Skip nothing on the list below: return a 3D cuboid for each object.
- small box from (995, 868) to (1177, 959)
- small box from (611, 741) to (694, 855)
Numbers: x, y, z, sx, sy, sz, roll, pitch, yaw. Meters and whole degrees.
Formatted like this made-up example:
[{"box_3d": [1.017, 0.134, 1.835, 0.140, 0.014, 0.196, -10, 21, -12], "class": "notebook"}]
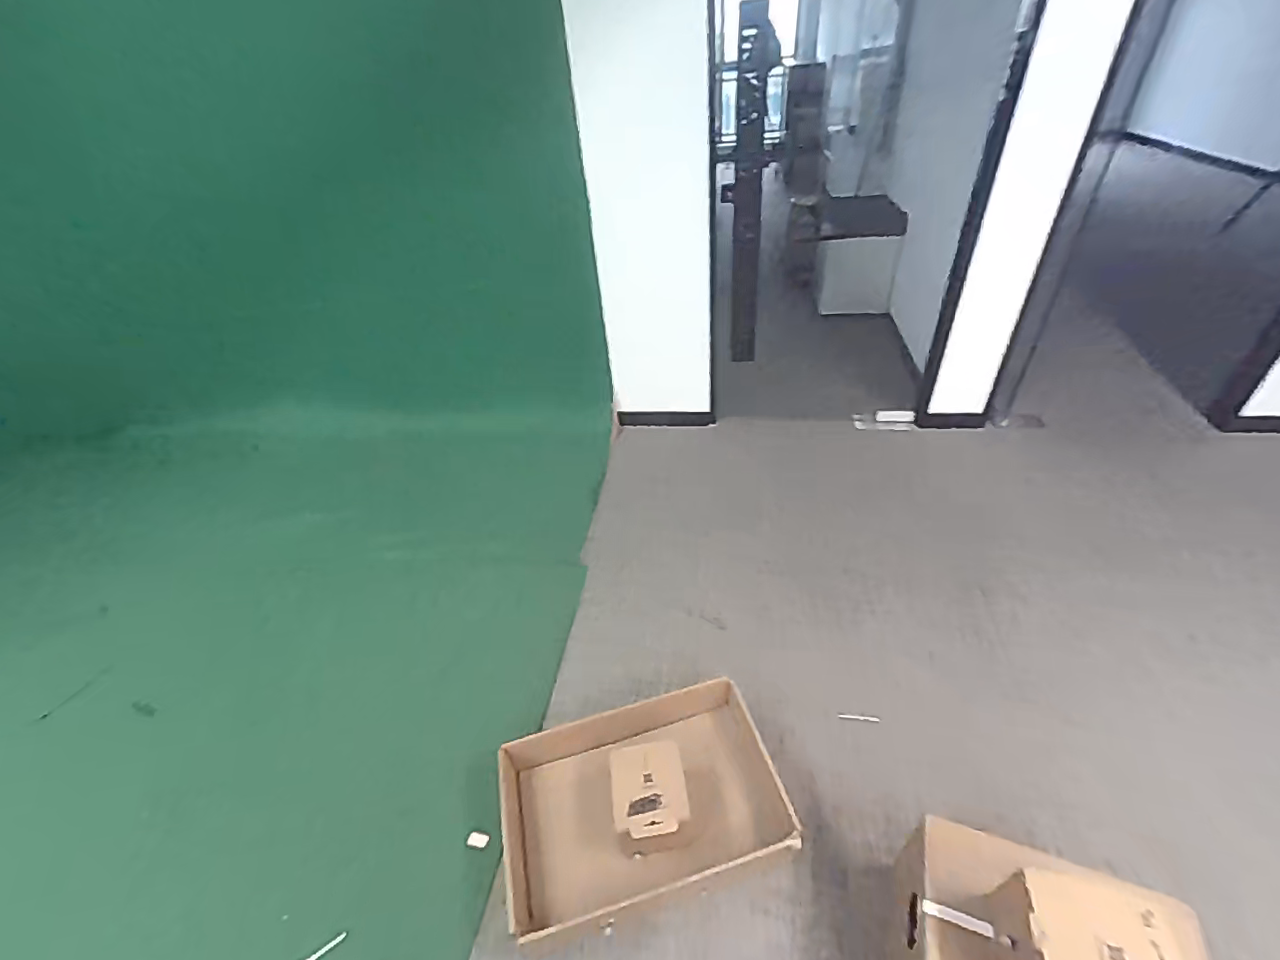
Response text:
[{"box_3d": [0.647, 0.712, 0.792, 0.179, 0.176, 0.168, 6, 41, 16], "class": "small box"}, {"box_3d": [0.029, 0.742, 1.256, 0.168, 0.176, 0.179, -9, 37, -2], "class": "small box"}]
